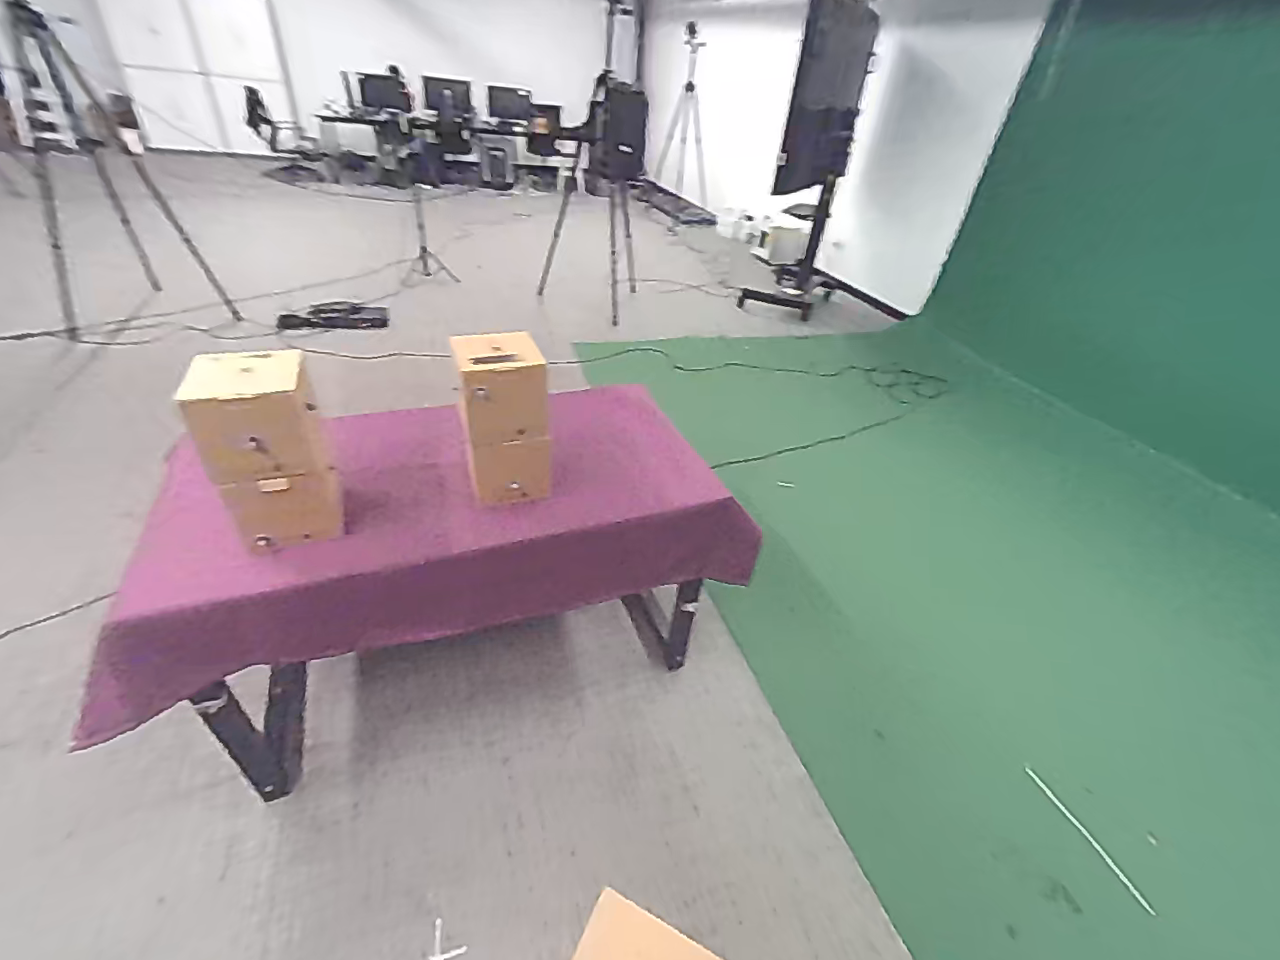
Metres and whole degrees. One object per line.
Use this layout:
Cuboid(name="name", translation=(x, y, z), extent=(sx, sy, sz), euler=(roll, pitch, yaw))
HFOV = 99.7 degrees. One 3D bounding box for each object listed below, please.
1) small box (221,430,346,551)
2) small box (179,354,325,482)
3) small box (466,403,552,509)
Cuboid(name="small box", translation=(-0.694, 0.023, 1.074), extent=(0.168, 0.176, 0.179), euler=(-10, 39, -22))
Cuboid(name="small box", translation=(-0.682, -0.109, 0.976), extent=(0.168, 0.176, 0.179), euler=(-9, 40, -21))
Cuboid(name="small box", translation=(-0.300, -0.057, 1.240), extent=(0.168, 0.176, 0.179), euler=(-9, 39, -19))
